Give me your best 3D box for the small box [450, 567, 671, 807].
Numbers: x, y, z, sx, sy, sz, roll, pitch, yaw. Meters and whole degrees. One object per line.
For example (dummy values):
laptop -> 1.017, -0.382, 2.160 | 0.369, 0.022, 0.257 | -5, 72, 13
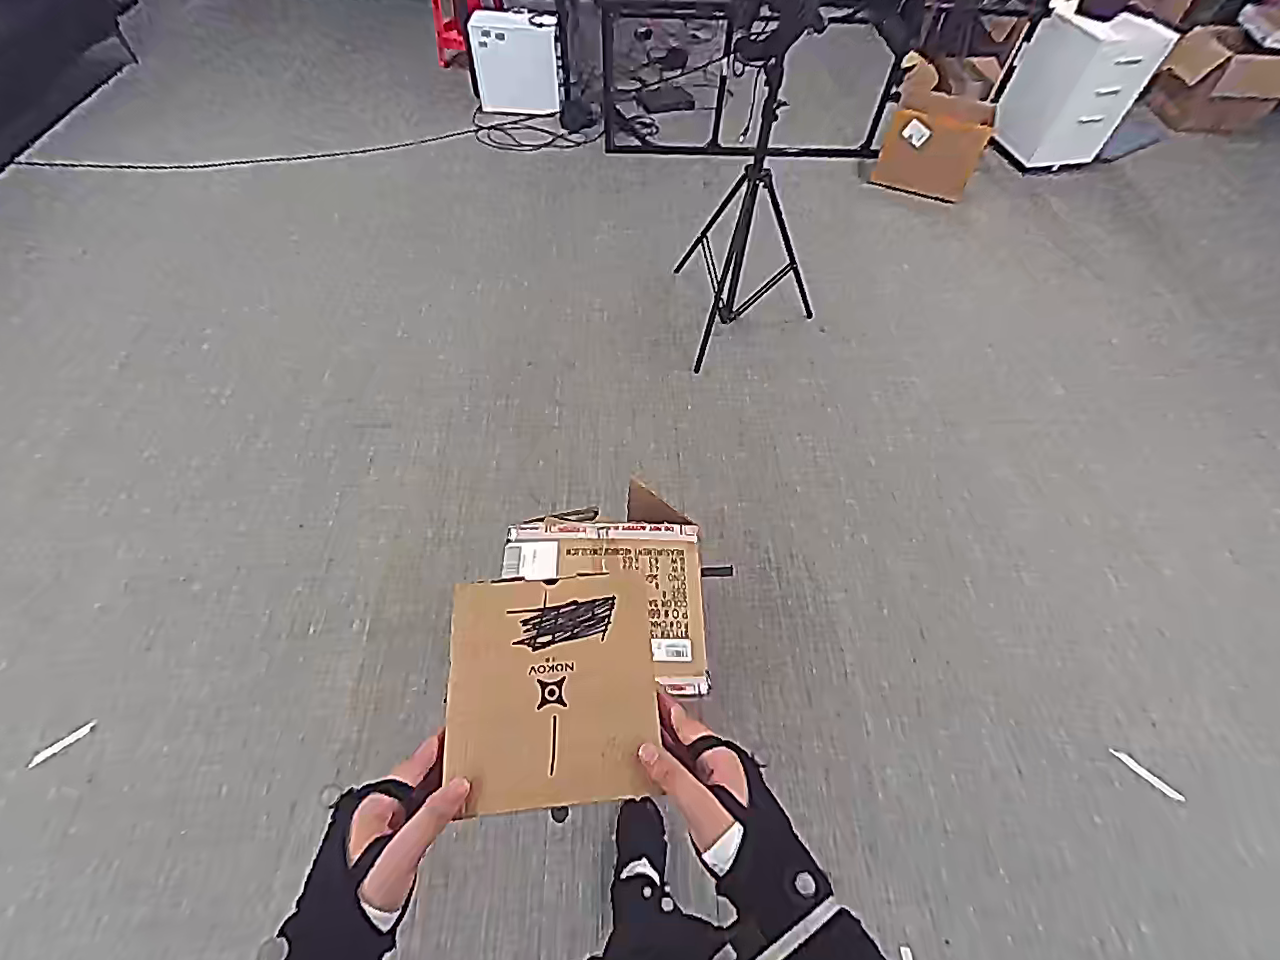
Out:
small box -> -0.069, 0.195, 0.507 | 0.168, 0.176, 0.179 | -4, 63, -5
